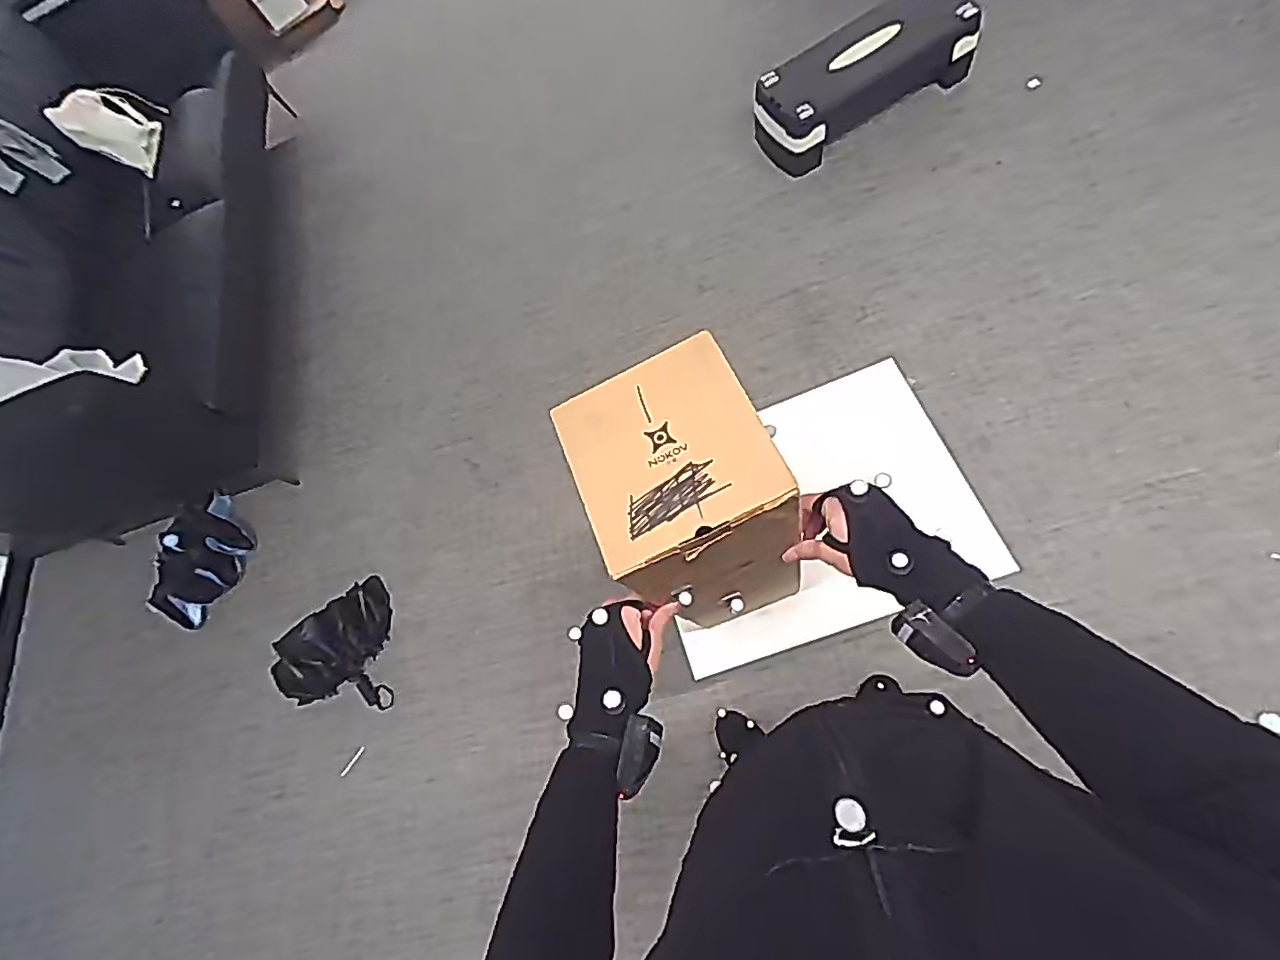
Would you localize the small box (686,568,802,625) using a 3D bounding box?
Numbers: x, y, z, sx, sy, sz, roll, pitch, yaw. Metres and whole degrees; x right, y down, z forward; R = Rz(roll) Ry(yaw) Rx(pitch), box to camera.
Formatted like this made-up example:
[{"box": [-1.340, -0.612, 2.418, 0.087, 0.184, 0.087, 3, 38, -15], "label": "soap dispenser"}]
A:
[{"box": [0.133, 0.106, 0.826, 0.168, 0.176, 0.179, -24, 65, 7], "label": "small box"}]

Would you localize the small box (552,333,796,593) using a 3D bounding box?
[{"box": [0.042, 0.000, 0.531, 0.168, 0.176, 0.179, -26, 64, 7], "label": "small box"}]

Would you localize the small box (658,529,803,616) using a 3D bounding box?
[{"box": [0.090, 0.054, 0.679, 0.168, 0.176, 0.179, -26, 66, 7], "label": "small box"}]
